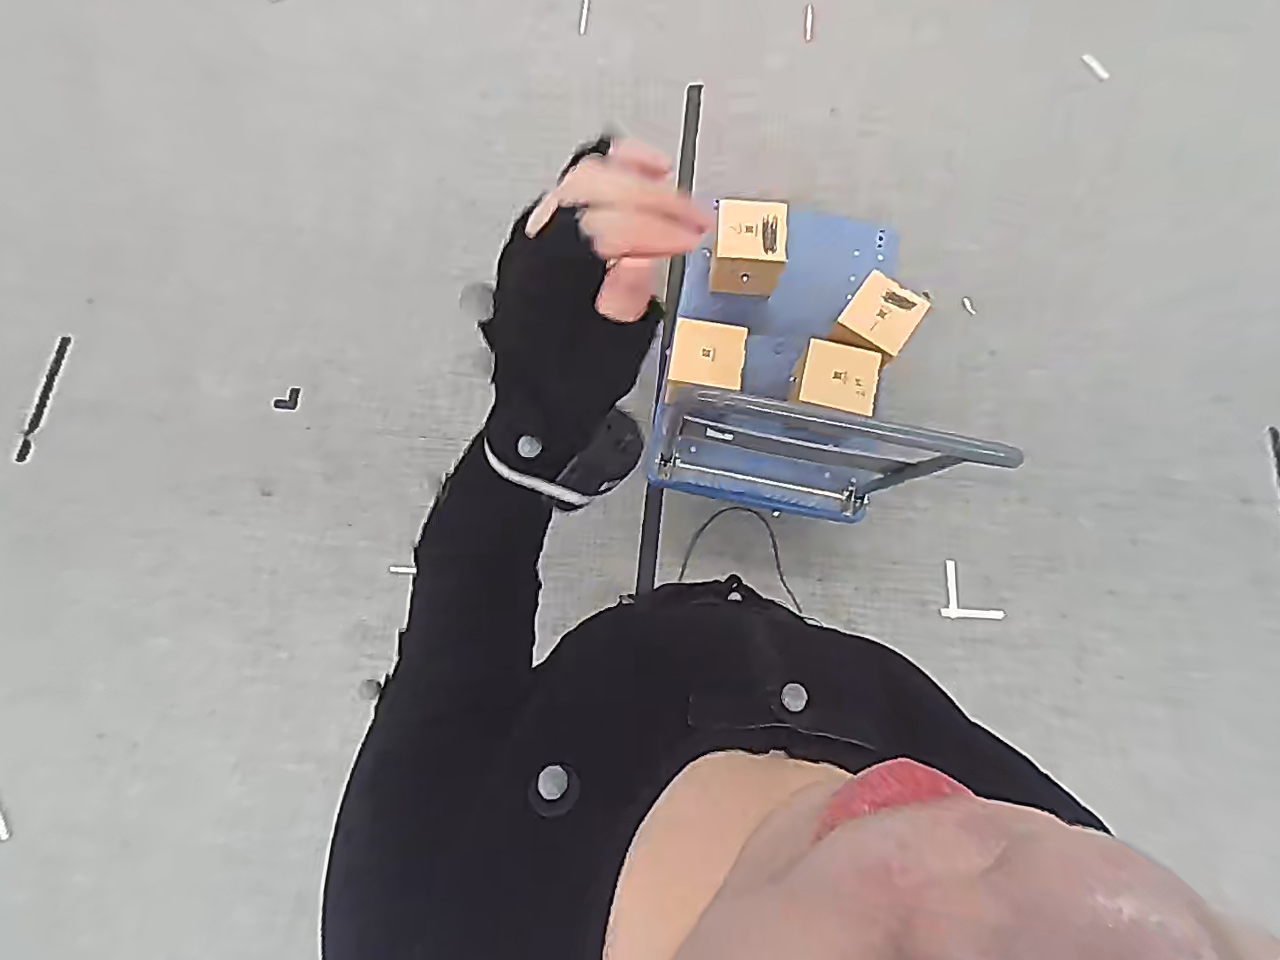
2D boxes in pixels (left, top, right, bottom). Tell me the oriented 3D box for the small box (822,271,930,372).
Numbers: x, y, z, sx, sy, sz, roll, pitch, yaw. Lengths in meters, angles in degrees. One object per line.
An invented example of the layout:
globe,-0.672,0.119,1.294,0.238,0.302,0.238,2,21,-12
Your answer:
small box,0.593,-0.389,1.392,0.168,0.176,0.179,36,81,8

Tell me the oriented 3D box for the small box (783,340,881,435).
small box,0.474,-0.225,1.358,0.179,0.176,0.168,14,79,4

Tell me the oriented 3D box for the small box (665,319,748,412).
small box,0.162,-0.284,1.374,0.179,0.176,0.168,9,78,1
